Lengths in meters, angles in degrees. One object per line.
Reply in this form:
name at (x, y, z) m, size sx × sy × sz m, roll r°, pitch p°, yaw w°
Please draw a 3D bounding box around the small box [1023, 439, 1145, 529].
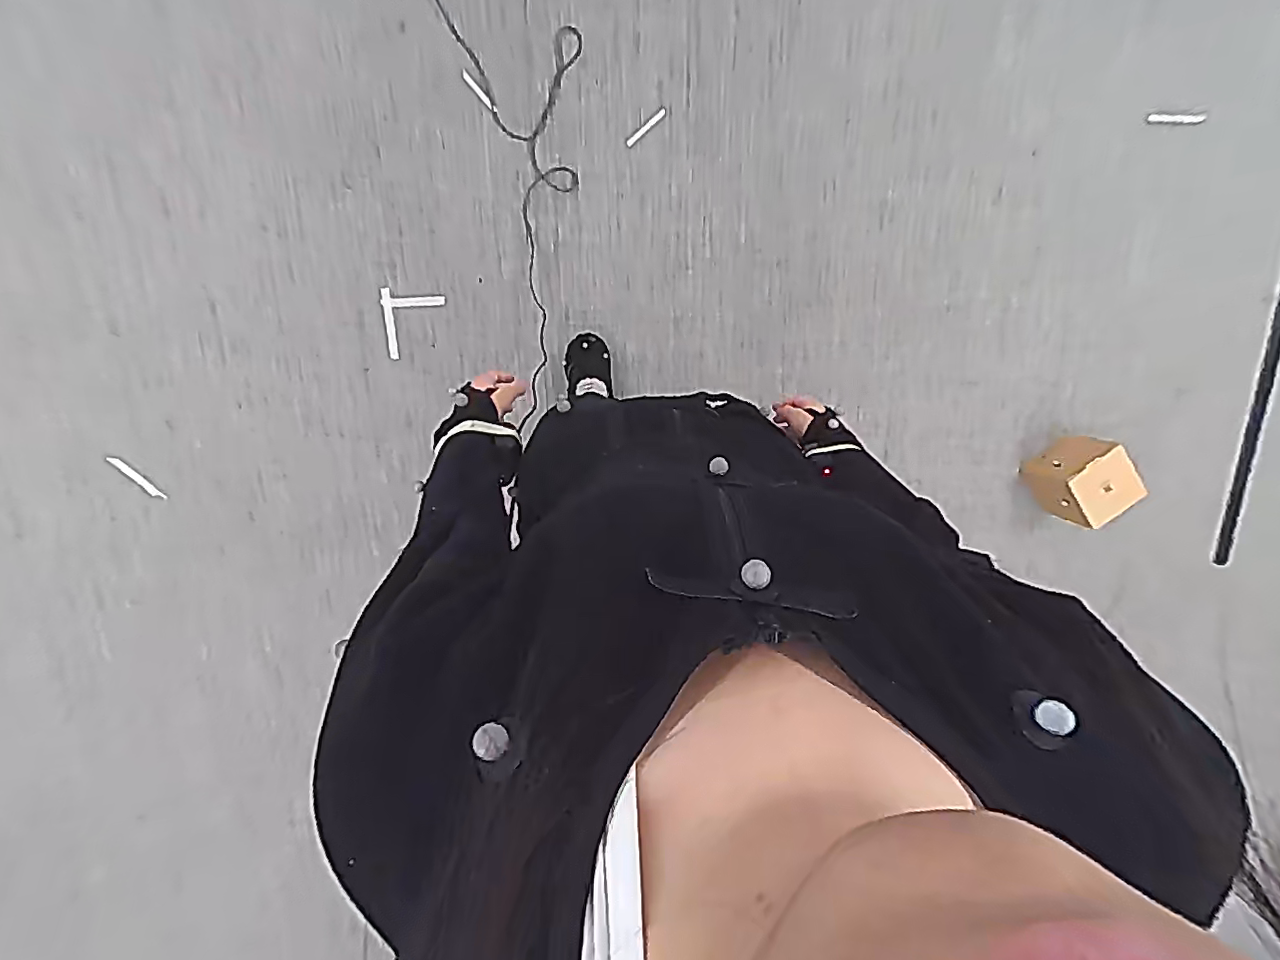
small box at (1.221, 0.001, 1.500) m, size 0.168 × 0.176 × 0.179 m, roll -38°, pitch 103°, yaw 6°
